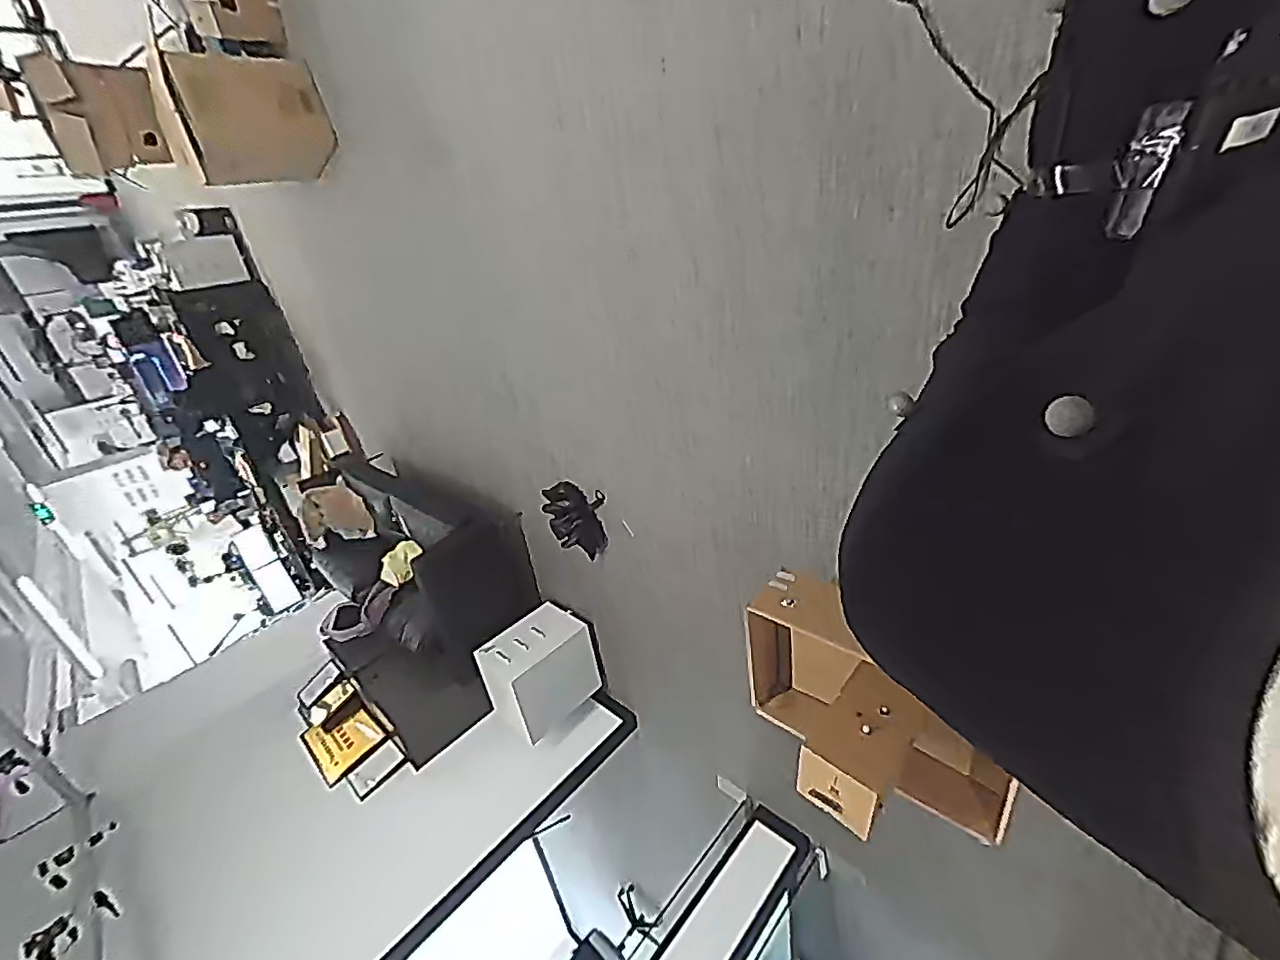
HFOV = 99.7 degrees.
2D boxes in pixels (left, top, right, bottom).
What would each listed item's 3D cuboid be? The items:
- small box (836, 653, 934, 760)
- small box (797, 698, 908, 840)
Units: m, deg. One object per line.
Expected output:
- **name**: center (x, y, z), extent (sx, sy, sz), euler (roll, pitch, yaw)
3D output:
- **small box**: center (0.573, 0.554, 1.285), extent (0.168, 0.176, 0.179), euler (24, 132, 36)
- **small box**: center (0.464, 0.624, 1.184), extent (0.168, 0.176, 0.179), euler (22, 130, 39)
